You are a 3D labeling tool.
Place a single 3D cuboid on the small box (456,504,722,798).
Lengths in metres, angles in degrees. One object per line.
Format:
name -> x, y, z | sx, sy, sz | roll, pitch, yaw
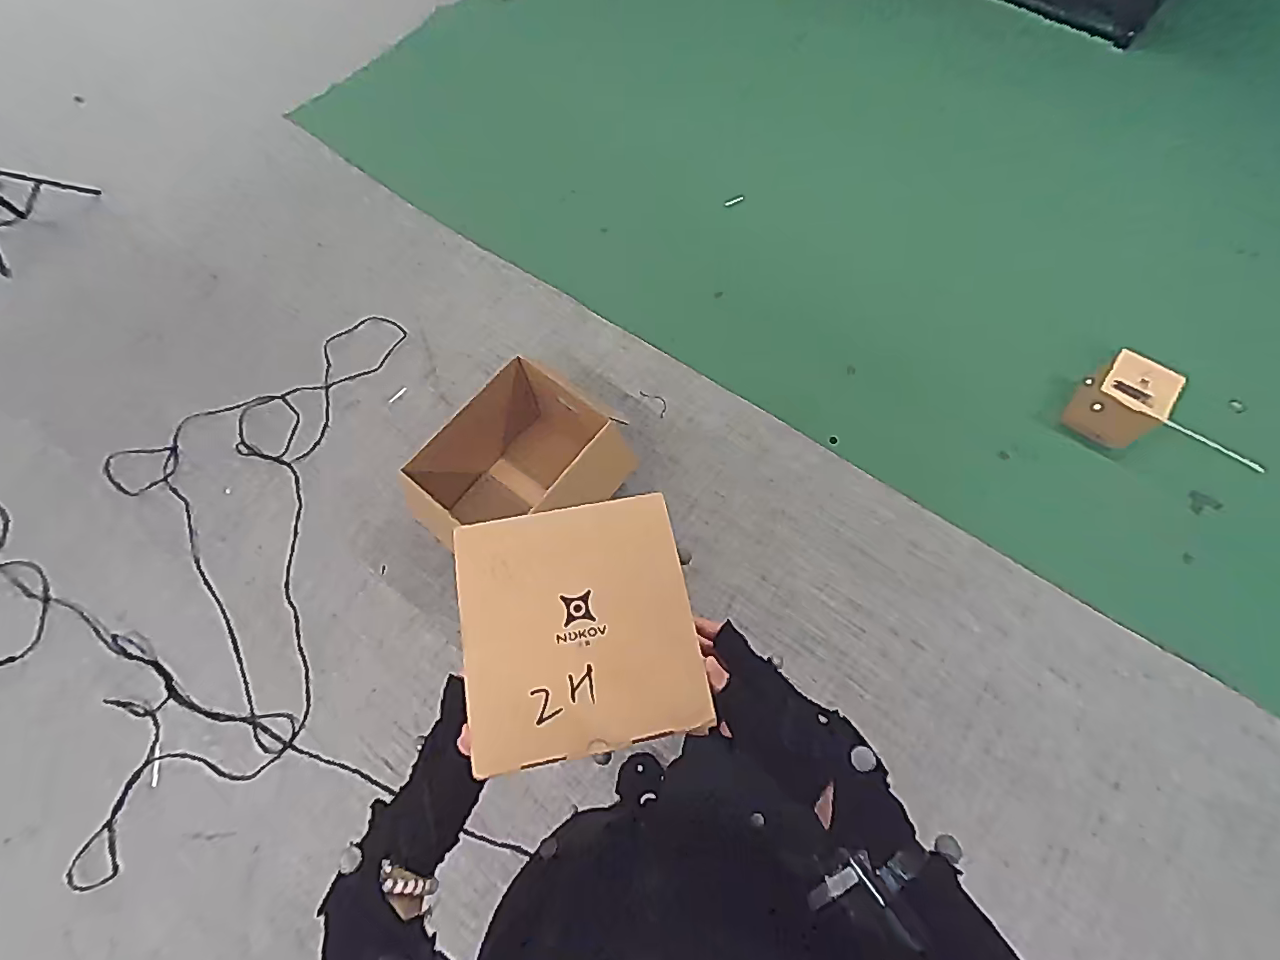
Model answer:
small box -> -0.046, 0.140, 0.450 | 0.168, 0.176, 0.179 | -10, 68, -7
